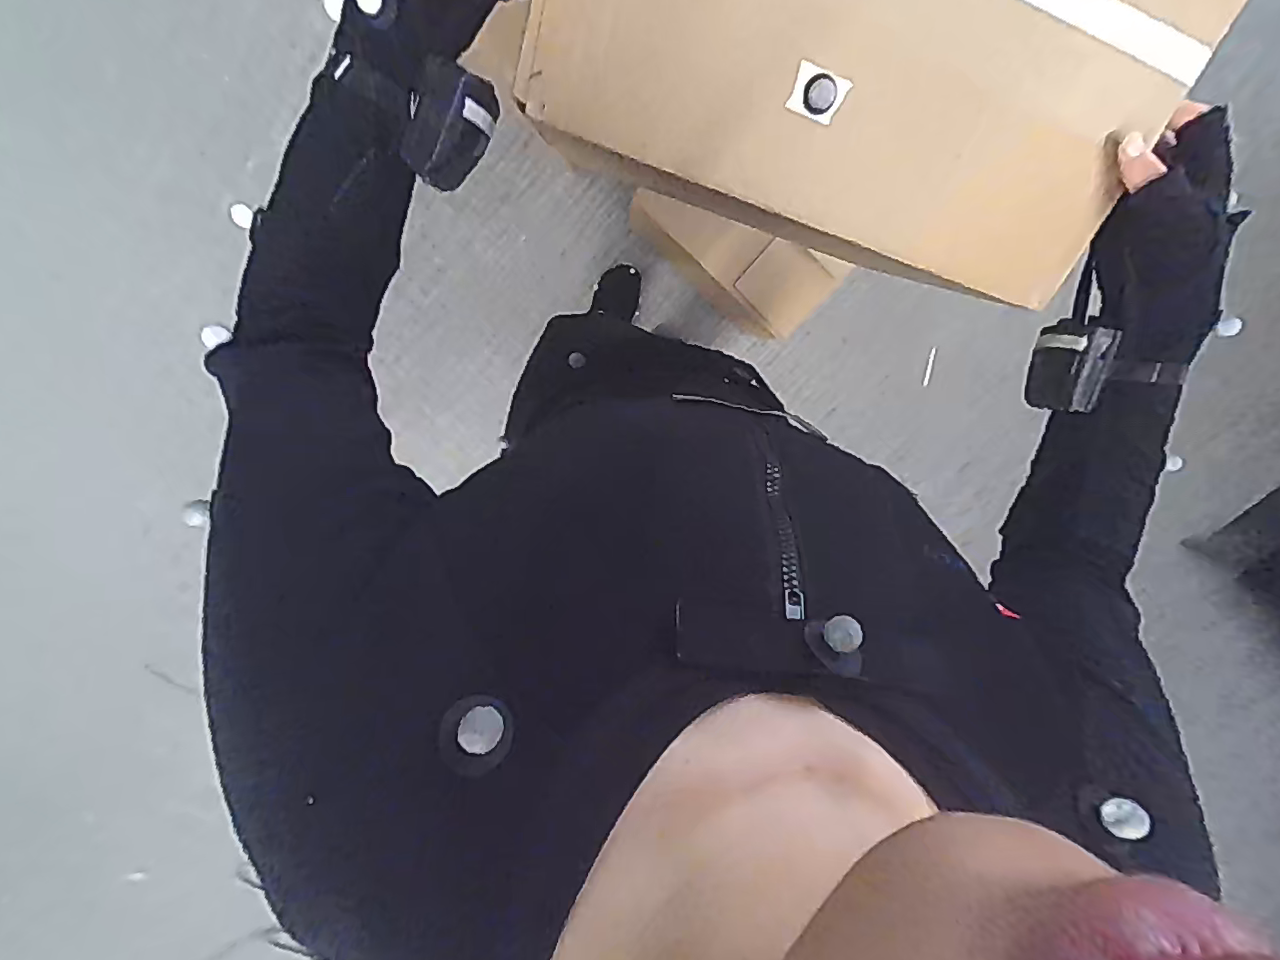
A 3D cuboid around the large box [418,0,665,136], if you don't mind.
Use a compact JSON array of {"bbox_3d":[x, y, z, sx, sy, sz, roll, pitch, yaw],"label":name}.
[{"bbox_3d":[-0.189,-0.791,0.748,0.408,0.320,0.320,42,104,-15],"label":"large box"}]
